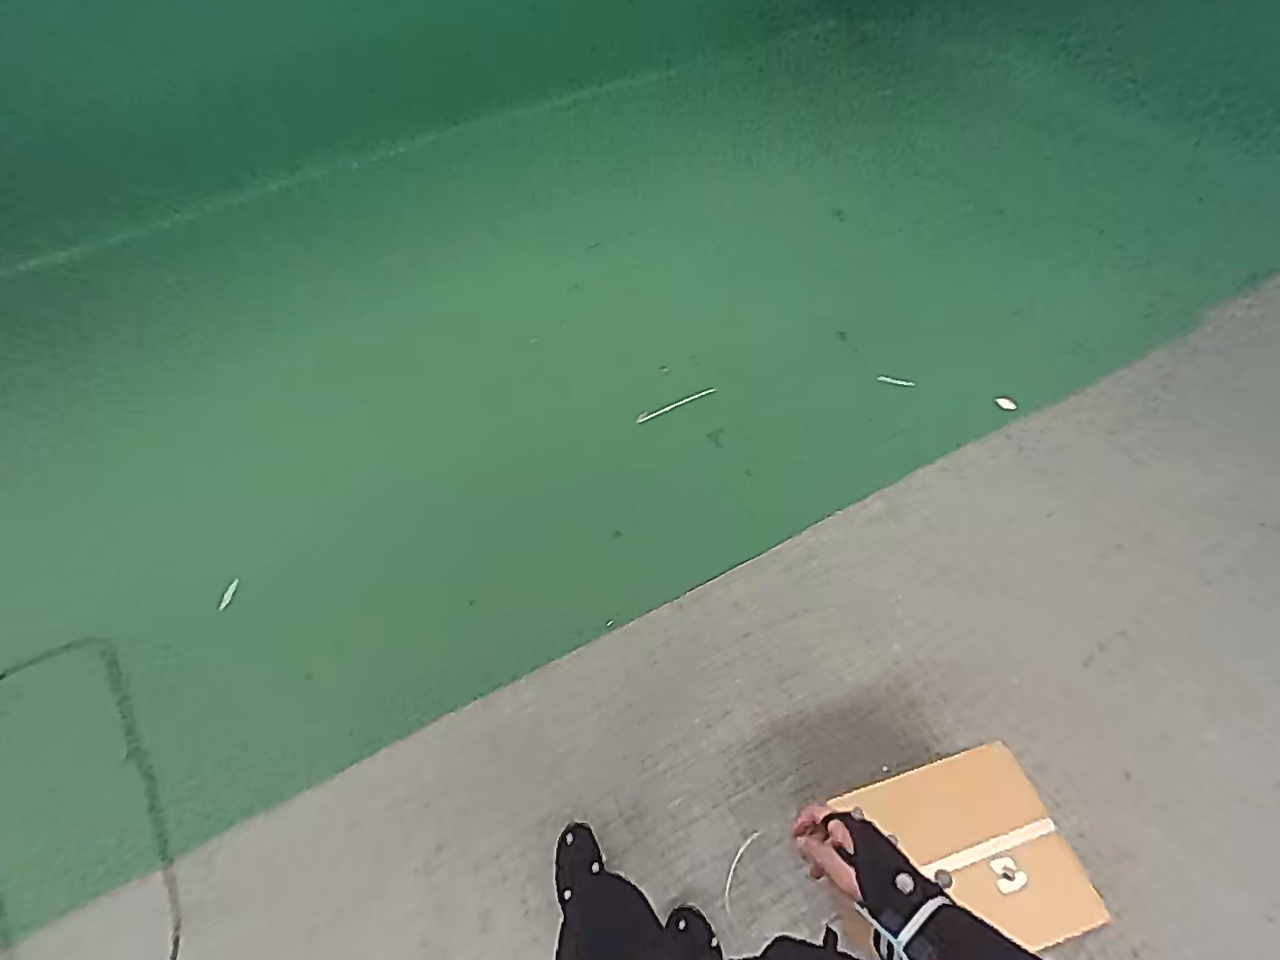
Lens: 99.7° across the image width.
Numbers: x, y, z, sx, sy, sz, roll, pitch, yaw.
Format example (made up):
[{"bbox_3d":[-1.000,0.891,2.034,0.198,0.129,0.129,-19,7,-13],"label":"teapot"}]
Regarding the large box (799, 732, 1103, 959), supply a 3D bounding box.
[{"bbox_3d":[0.612,0.786,1.152,0.408,0.320,0.320,-16,58,-6],"label":"large box"}]
